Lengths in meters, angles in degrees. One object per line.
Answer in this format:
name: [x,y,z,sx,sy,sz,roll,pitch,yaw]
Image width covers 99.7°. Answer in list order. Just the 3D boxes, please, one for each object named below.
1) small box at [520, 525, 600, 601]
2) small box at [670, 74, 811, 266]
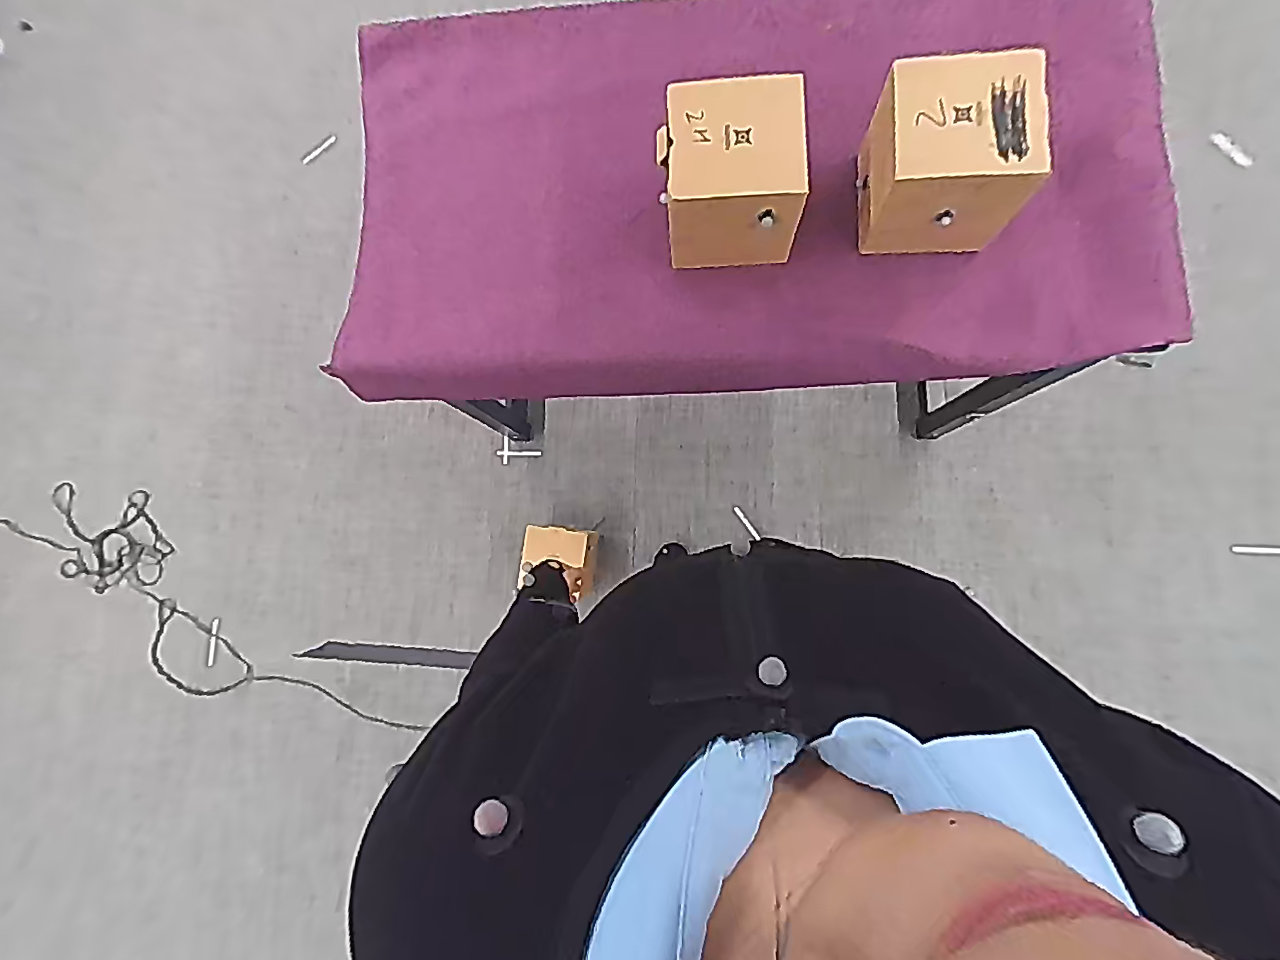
small box: [-0.210,0.221,1.461,0.168,0.176,0.179,7,84,7]
small box: [0.133,-0.421,0.760,0.179,0.176,0.168,-1,82,7]
